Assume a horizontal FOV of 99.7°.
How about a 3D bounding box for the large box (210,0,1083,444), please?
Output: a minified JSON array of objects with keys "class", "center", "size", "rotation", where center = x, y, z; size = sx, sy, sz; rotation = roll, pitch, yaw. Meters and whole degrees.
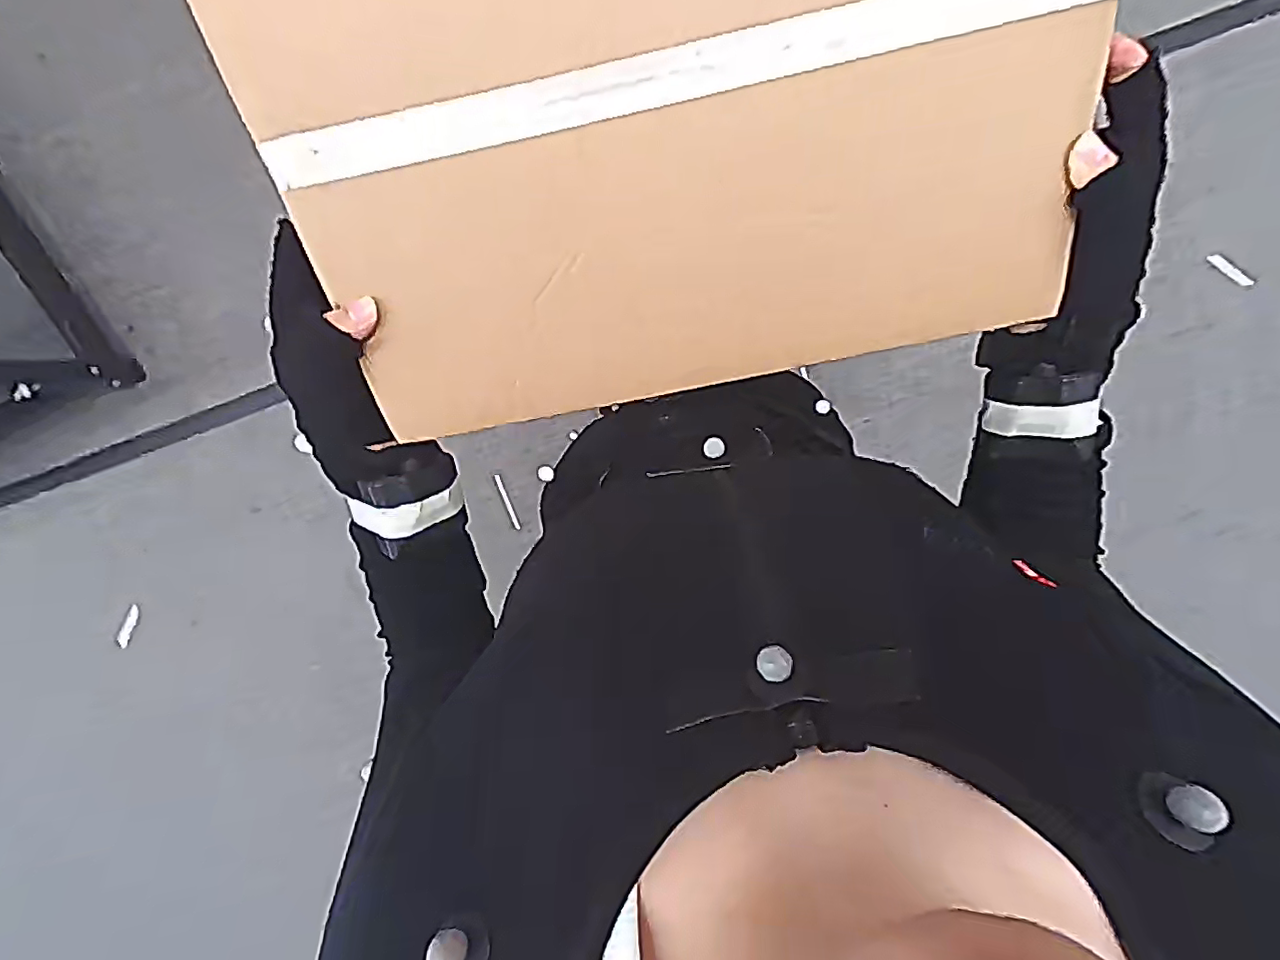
[{"class":"large box","center":[0.011,-0.264,0.394],"size":[0.408,0.320,0.320],"rotation":[-11,119,3]}]
